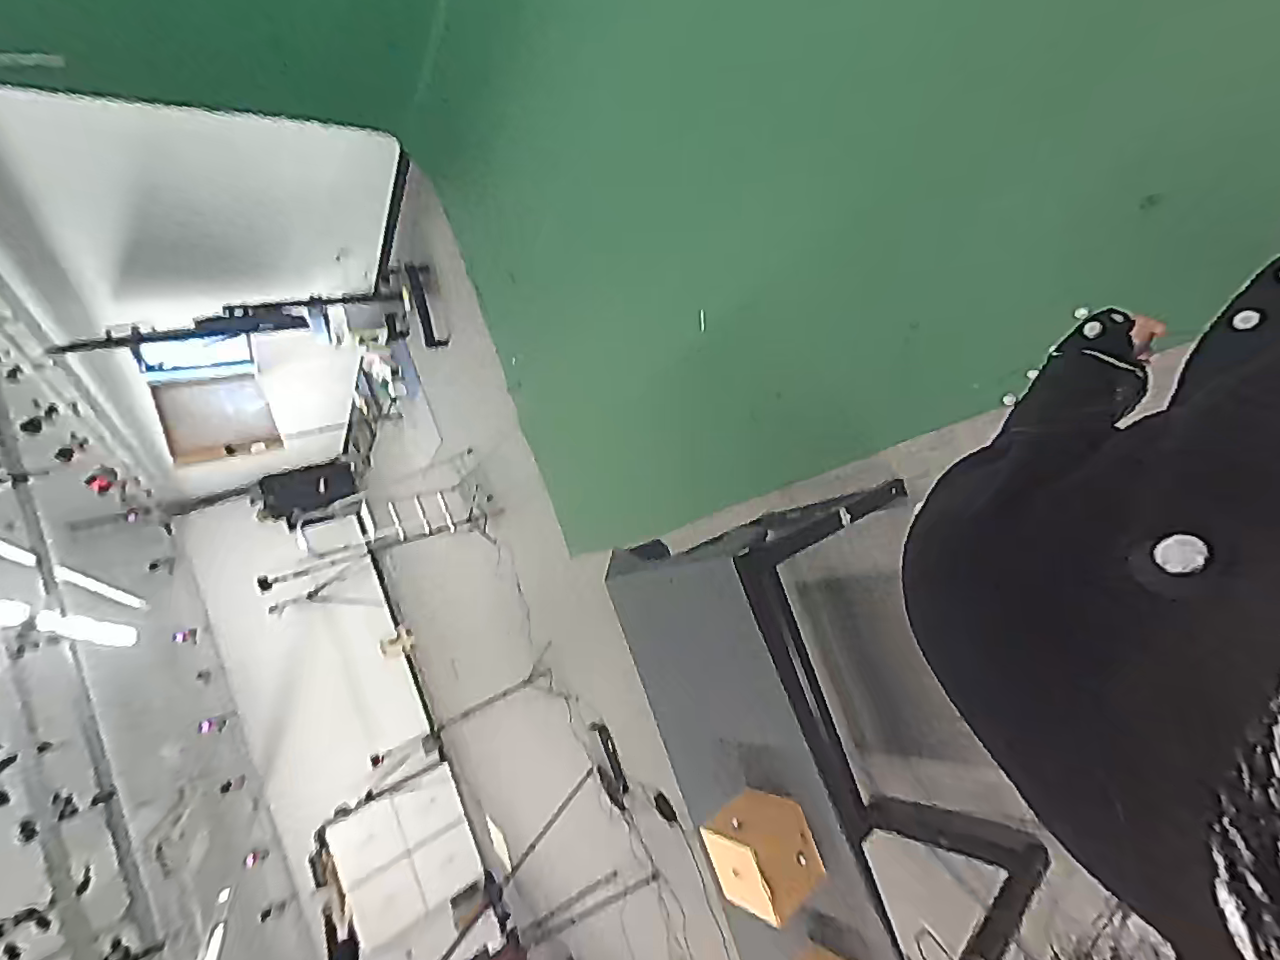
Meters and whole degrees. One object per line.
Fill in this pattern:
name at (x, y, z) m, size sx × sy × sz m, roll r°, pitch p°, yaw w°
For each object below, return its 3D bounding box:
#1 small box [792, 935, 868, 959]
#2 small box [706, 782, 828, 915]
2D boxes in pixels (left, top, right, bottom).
small box at (0.432, 1.165, 1.190) m, size 0.179 × 0.176 × 0.168 m, roll -29°, pitch 82°, yaw 55°
small box at (0.288, 0.821, 1.229) m, size 0.179 × 0.176 × 0.168 m, roll -28°, pitch 83°, yaw 54°
